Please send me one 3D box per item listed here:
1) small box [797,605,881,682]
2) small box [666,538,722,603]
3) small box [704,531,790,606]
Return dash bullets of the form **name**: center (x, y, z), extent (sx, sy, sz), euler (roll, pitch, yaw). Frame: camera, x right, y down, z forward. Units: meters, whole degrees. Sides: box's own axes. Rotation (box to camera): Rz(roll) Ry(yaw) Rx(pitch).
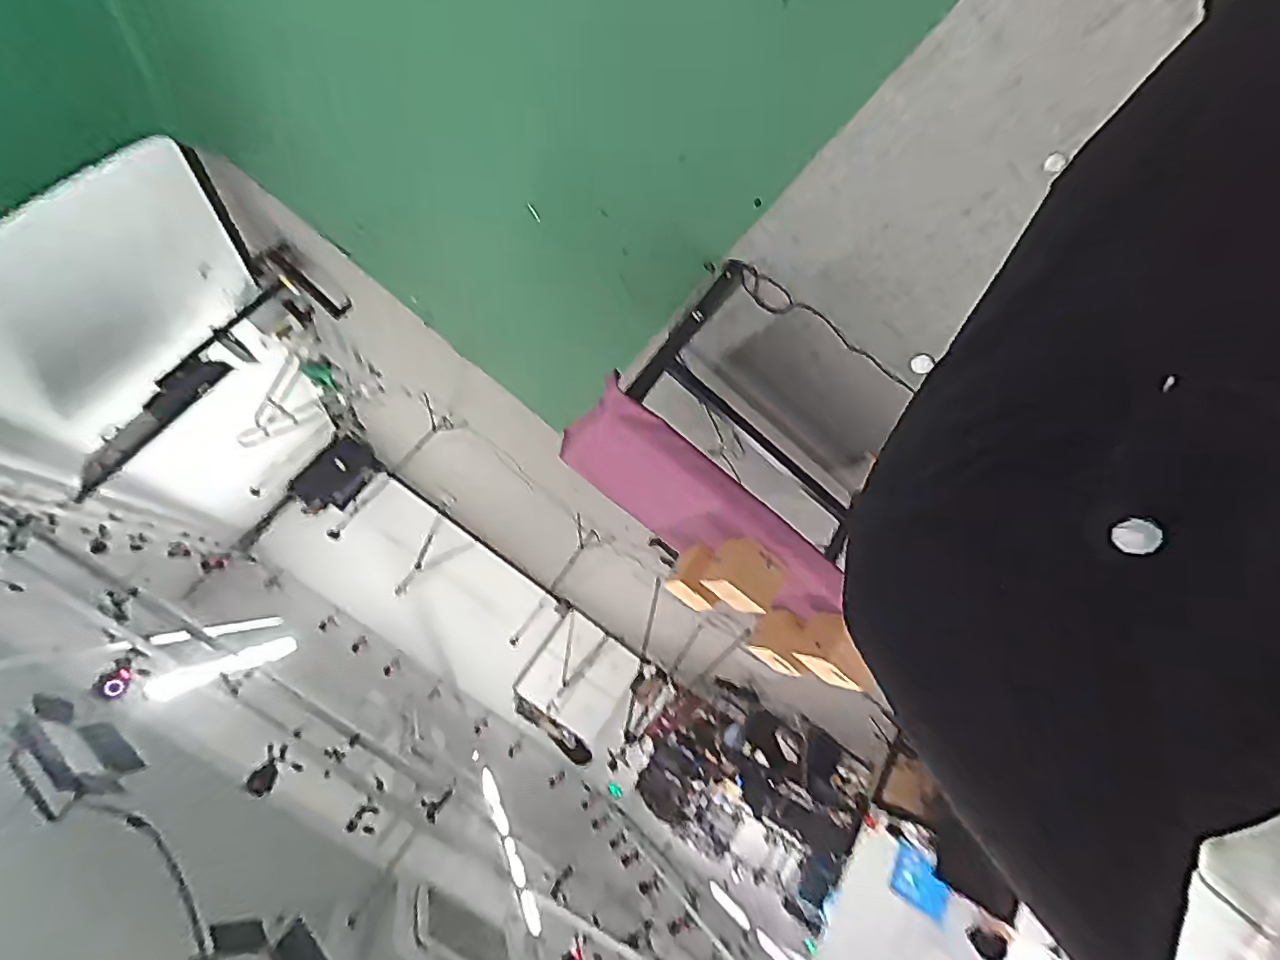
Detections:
- **small box**: center (0.651, 0.522, 1.753), extent (0.168, 0.176, 0.179), euler (40, 160, -12)
- **small box**: center (0.228, 0.335, 1.987), extent (0.168, 0.176, 0.179), euler (37, 157, -5)
- **small box**: center (0.339, 0.277, 1.701), extent (0.168, 0.176, 0.179), euler (38, 159, -11)
